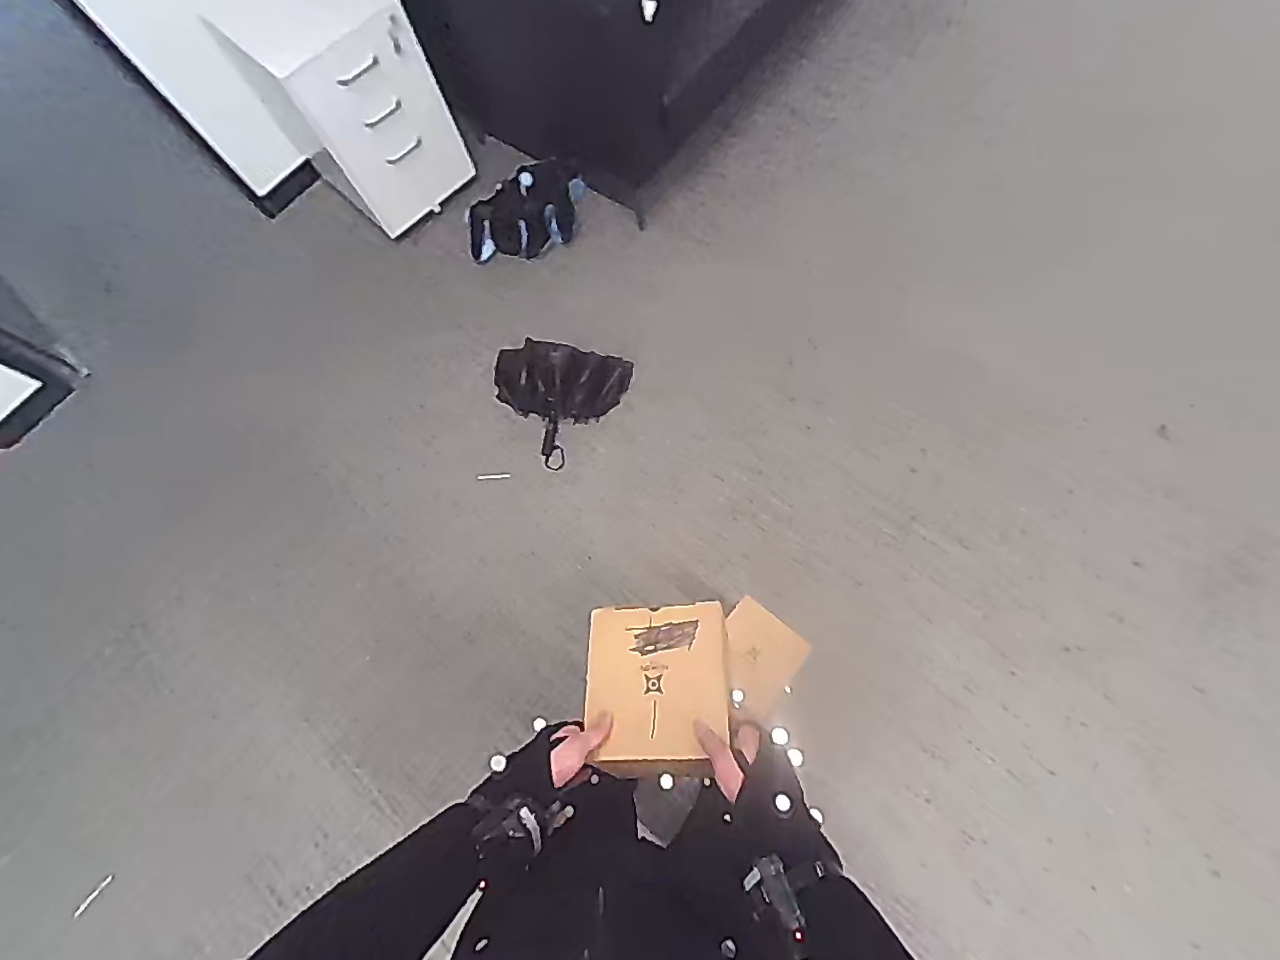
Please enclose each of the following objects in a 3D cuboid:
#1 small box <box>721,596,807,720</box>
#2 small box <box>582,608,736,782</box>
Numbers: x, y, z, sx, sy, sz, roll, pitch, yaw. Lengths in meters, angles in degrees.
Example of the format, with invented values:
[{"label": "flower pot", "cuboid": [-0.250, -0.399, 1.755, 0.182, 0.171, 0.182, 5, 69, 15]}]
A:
[{"label": "small box", "cuboid": [0.221, 0.375, 1.136, 0.168, 0.176, 0.179, 38, 77, 17]}, {"label": "small box", "cuboid": [0.031, 0.282, 0.698, 0.168, 0.176, 0.179, -7, 56, 10]}]
